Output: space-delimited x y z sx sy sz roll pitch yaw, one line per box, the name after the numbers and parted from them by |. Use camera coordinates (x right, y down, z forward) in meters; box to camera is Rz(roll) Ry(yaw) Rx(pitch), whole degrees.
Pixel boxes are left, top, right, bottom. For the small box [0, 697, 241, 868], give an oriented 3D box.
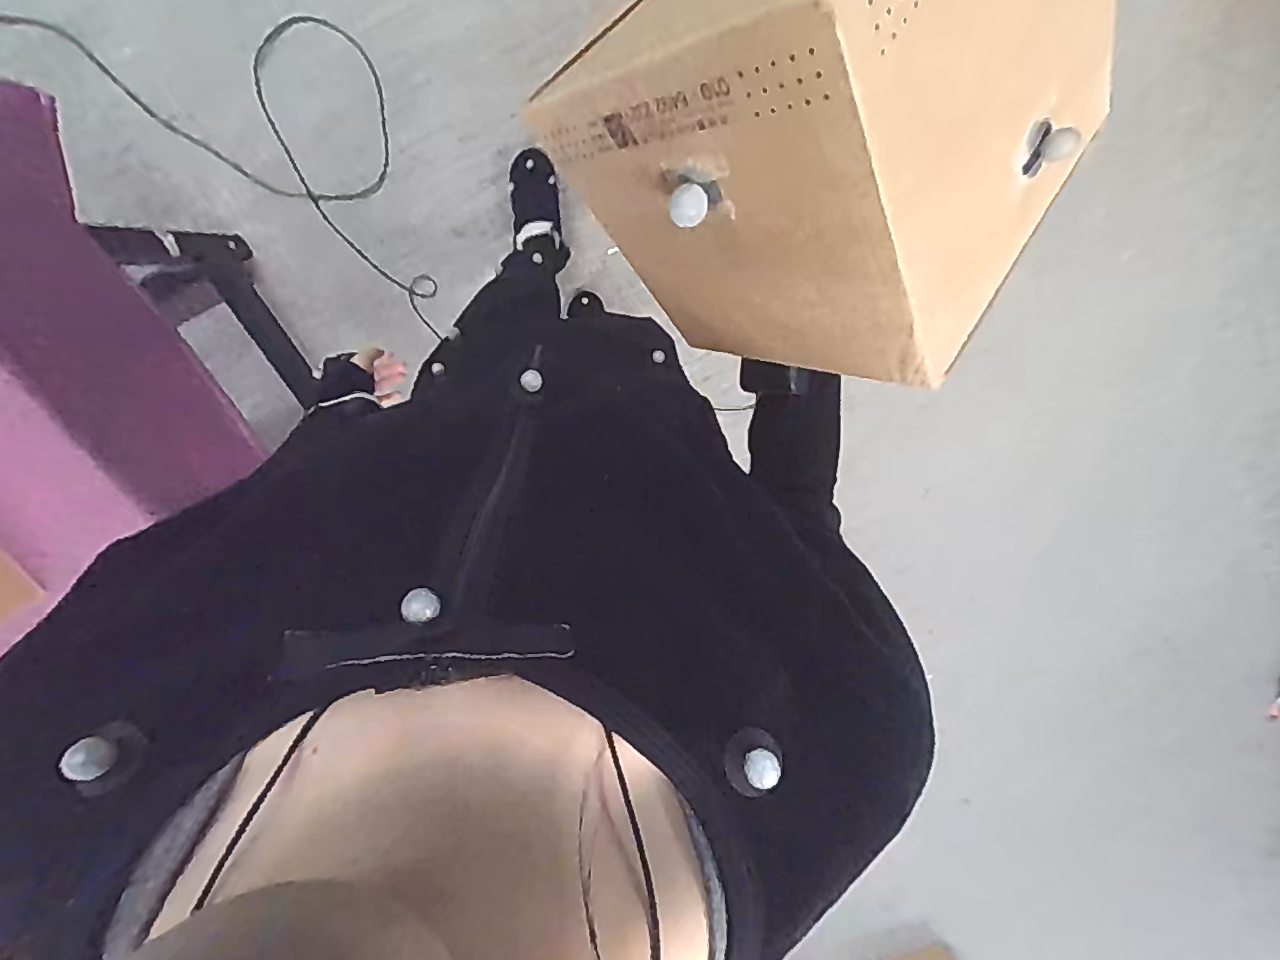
-0.770 0.471 0.820 0.168 0.176 0.179 -26 111 7 | small box

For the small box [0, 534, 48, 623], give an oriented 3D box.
-0.932 0.144 0.673 0.168 0.176 0.179 -23 111 4 | small box

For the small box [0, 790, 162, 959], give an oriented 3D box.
-0.766 0.528 0.665 0.179 0.176 0.168 -26 111 7 | small box

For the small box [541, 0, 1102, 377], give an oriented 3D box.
0.090 -0.180 0.258 0.179 0.168 0.176 -55 132 -9 | small box
